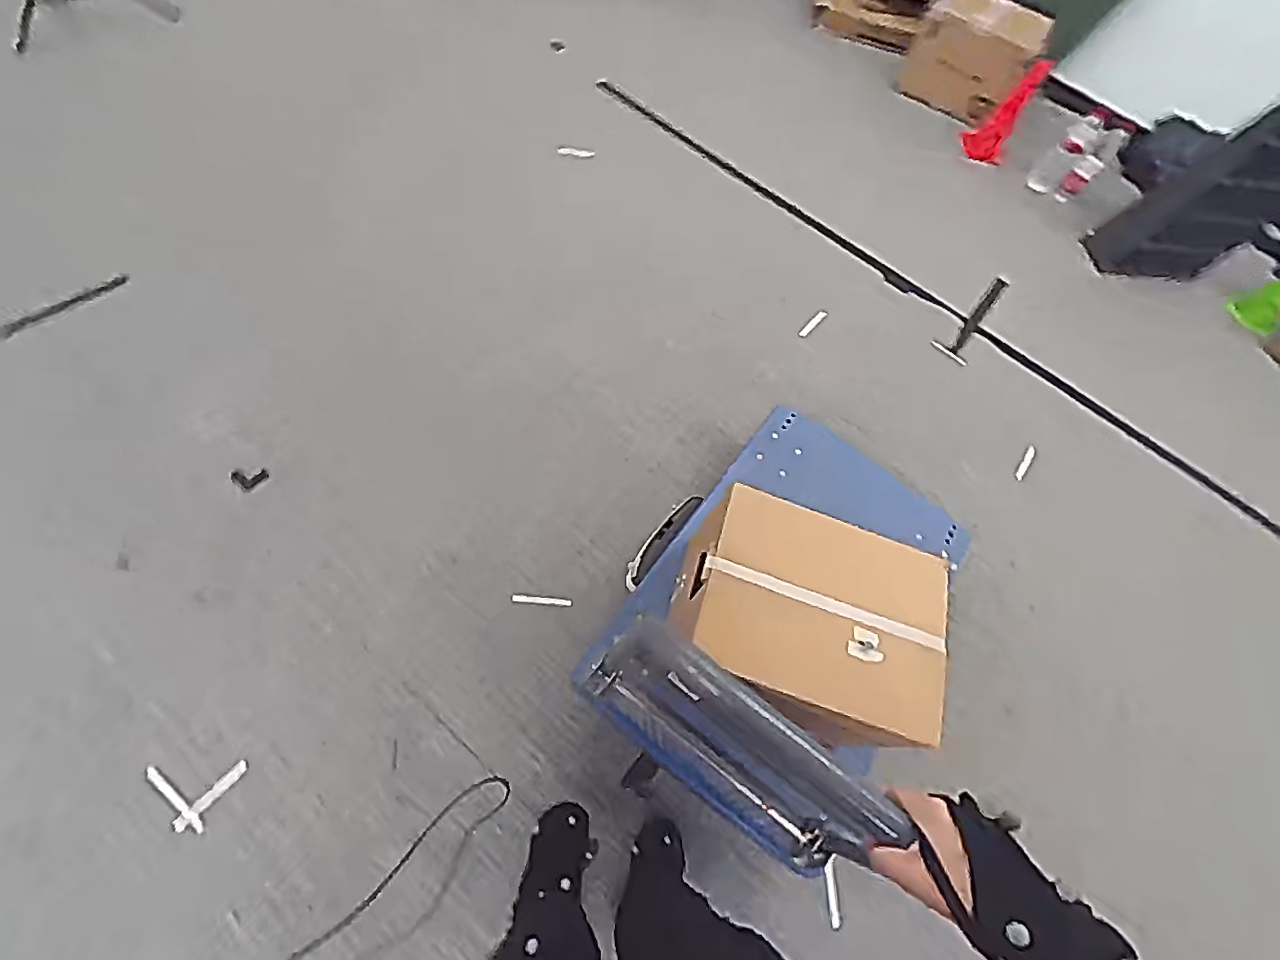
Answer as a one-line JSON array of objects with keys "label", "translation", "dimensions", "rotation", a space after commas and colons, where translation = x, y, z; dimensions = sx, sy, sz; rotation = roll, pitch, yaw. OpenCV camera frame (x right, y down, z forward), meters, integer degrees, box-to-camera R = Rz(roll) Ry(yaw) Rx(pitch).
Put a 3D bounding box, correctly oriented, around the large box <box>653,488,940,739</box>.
[{"label": "large box", "translation": [0.274, 0.265, 1.013], "dimensions": [0.408, 0.320, 0.320], "rotation": [20, 64, -2]}]
